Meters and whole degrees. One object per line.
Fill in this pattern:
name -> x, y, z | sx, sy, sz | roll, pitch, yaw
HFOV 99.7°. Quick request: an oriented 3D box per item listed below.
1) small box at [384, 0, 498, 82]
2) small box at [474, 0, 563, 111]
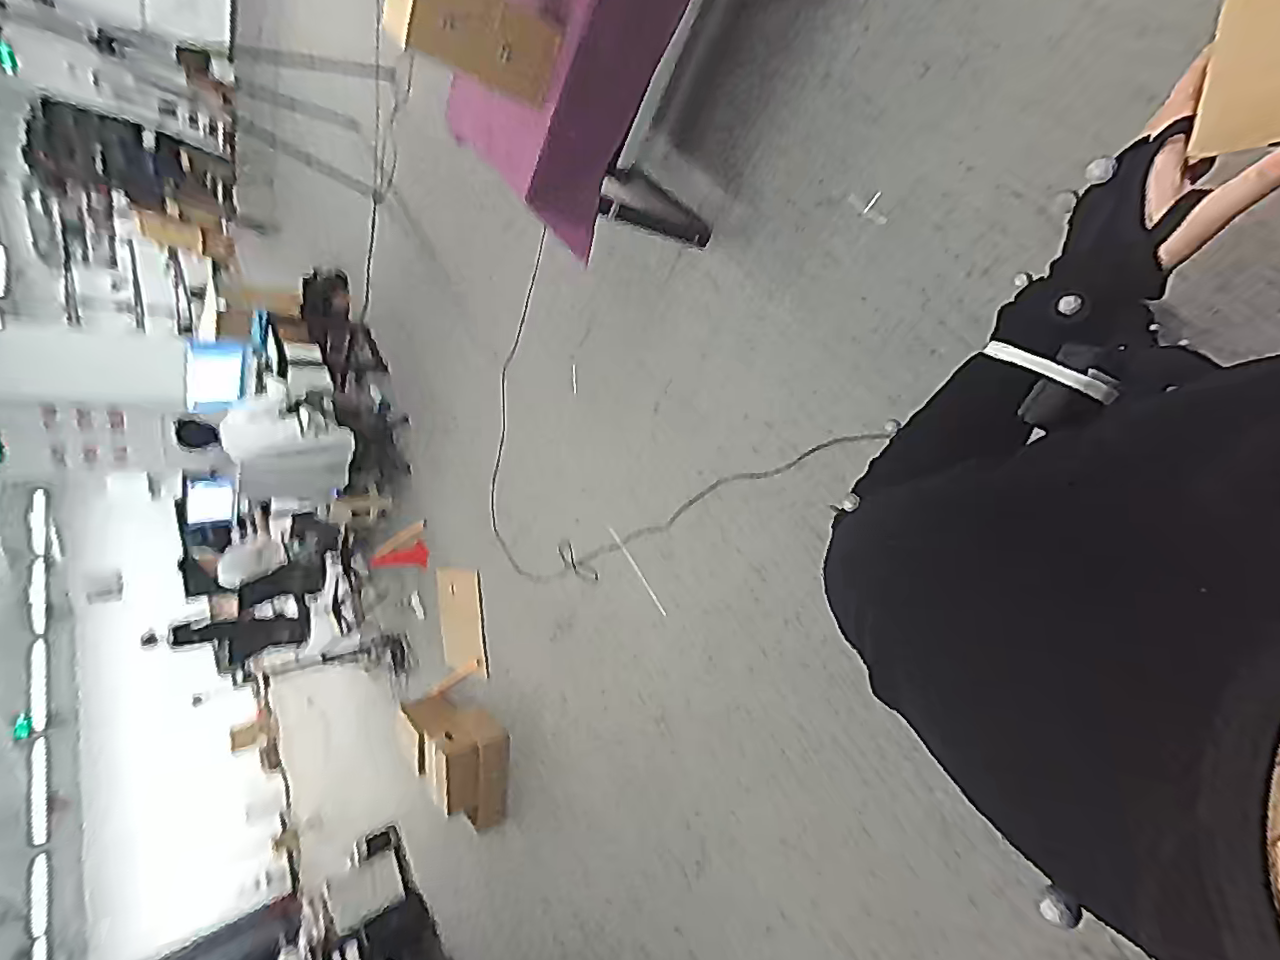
small box -> -0.426, -1.017, 1.169 | 0.168, 0.176, 0.179 | 55, 130, 27
small box -> -0.309, -1.023, 1.283 | 0.168, 0.176, 0.179 | 56, 129, 26
